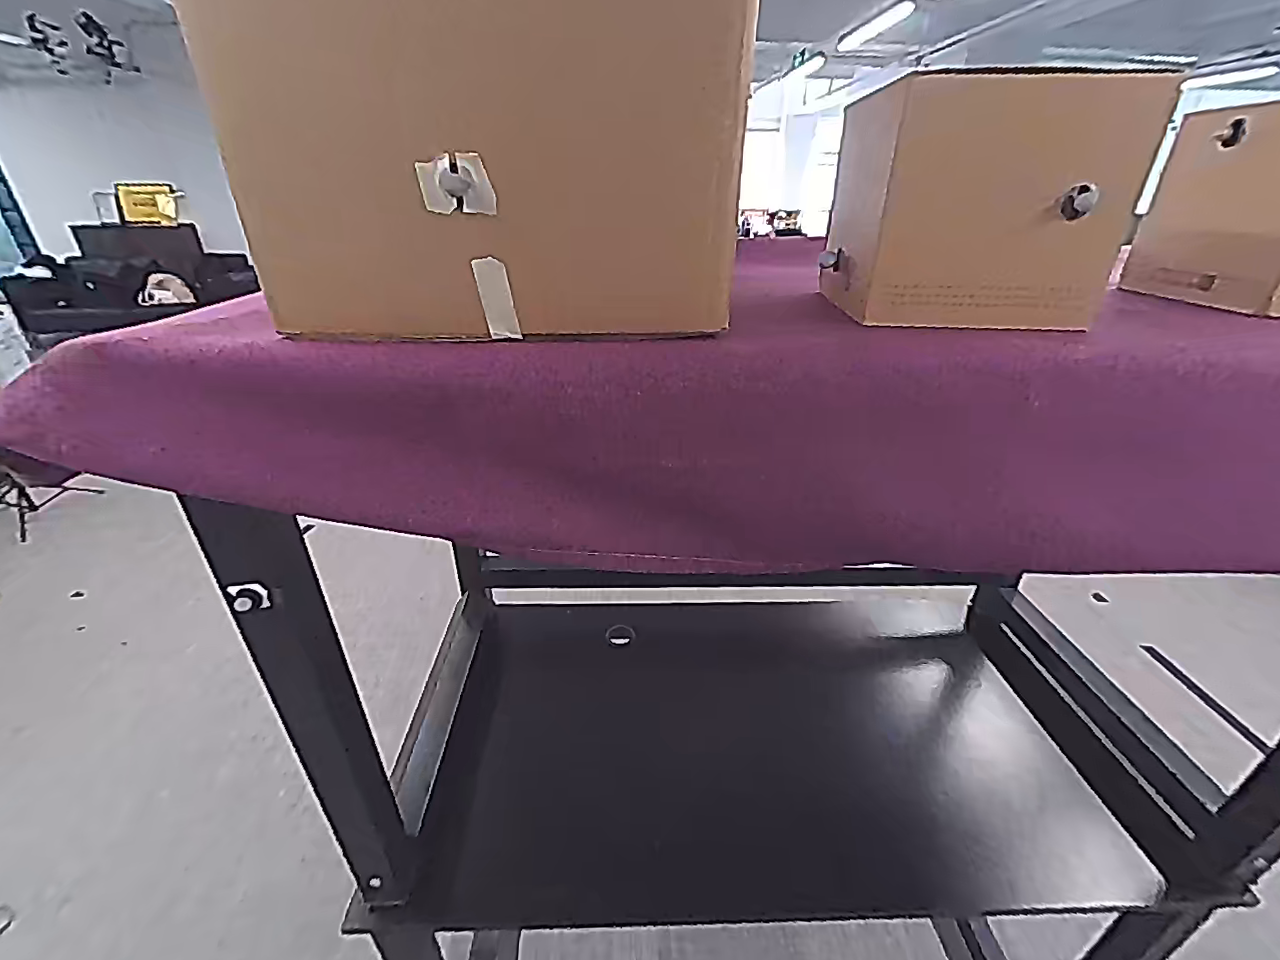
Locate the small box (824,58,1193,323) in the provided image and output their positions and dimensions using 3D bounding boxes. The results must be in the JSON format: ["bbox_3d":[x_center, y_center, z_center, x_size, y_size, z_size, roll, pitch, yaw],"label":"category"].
[{"bbox_3d":[0.270,-0.231,0.453,0.179,0.176,0.168,2,27,4],"label":"small box"}]

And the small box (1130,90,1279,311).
[{"bbox_3d":[0.622,-0.254,0.495,0.179,0.176,0.168,1,27,0],"label":"small box"}]
